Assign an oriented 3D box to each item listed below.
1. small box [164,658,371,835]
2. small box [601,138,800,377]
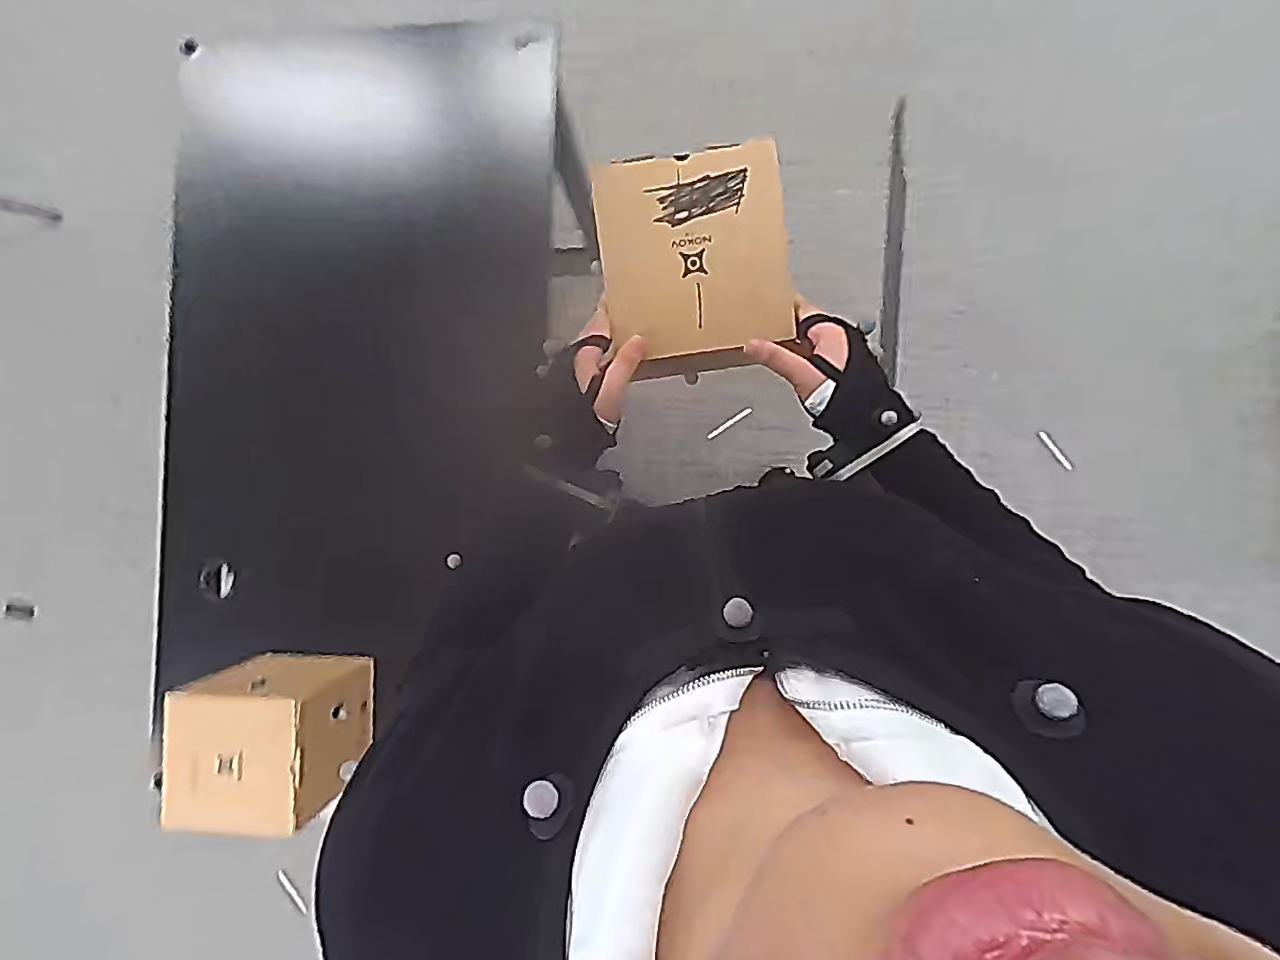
[{"bbox_3d":[-0.495,0.351,0.742,0.179,0.176,0.168,0,88,5],"label":"small box"},{"bbox_3d":[0.055,-0.211,0.559,0.168,0.176,0.179,-7,95,2],"label":"small box"}]
